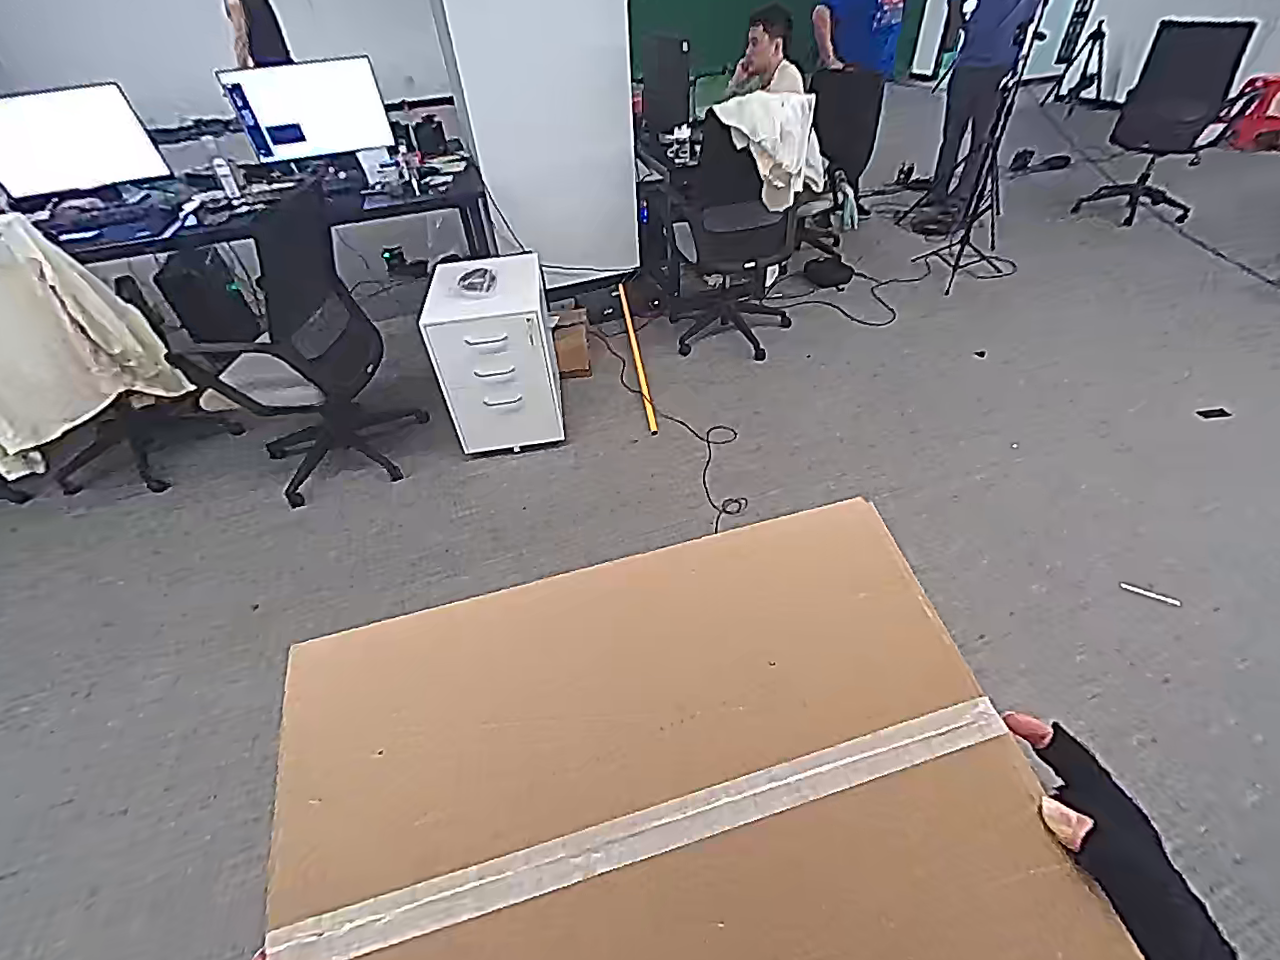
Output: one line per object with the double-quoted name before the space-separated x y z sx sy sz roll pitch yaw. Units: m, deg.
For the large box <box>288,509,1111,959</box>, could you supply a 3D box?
"large box" 0.016 0.270 0.428 0.408 0.320 0.320 -14 57 -7
